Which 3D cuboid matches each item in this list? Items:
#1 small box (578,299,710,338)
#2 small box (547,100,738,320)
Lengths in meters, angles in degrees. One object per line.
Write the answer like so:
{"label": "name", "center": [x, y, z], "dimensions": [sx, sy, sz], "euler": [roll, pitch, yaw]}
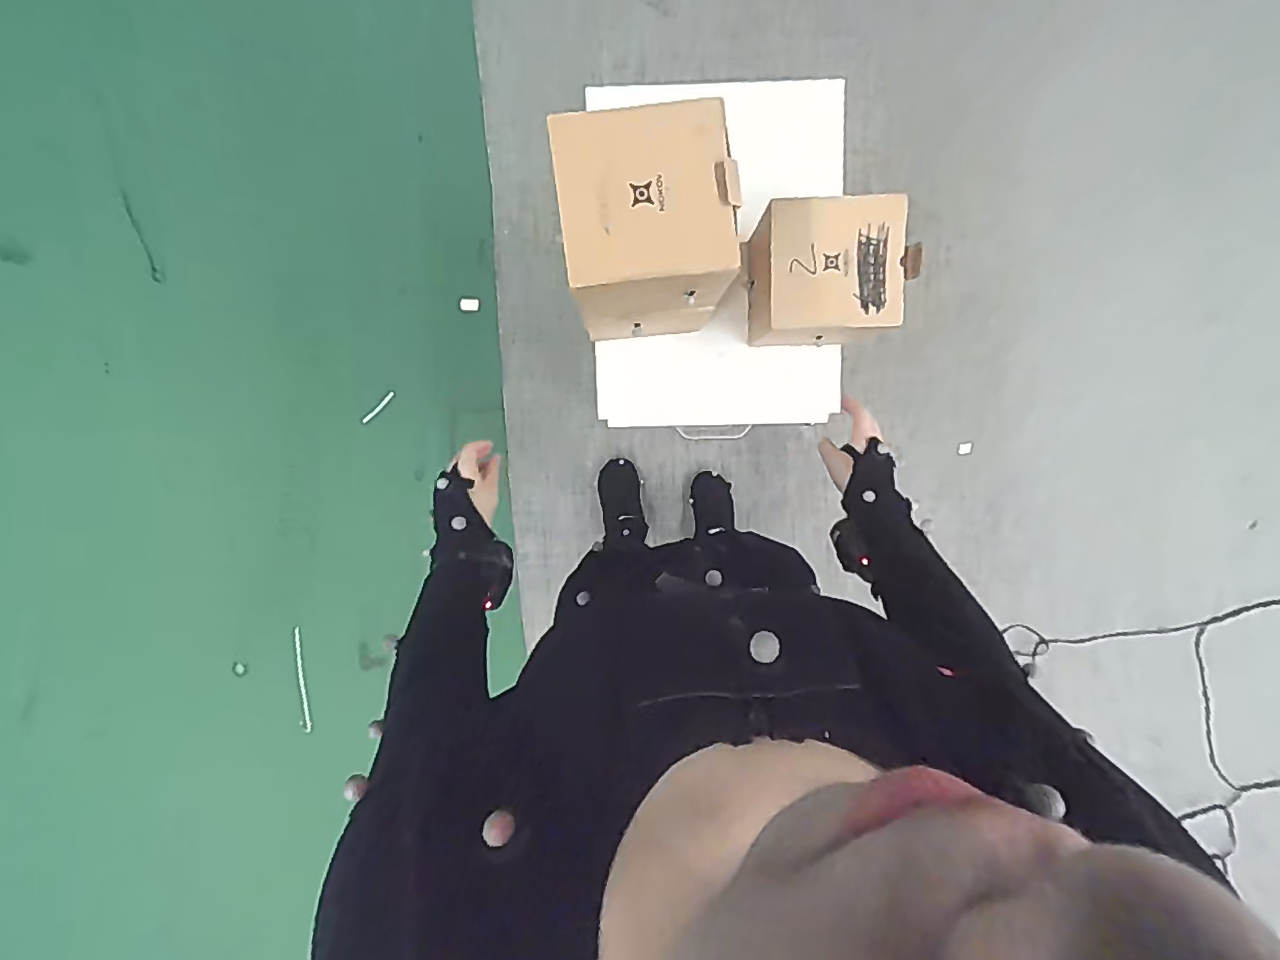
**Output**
{"label": "small box", "center": [-0.001, -0.304, 0.775], "dimensions": [0.179, 0.176, 0.168], "euler": [-6, 97, 0]}
{"label": "small box", "center": [0.002, -0.288, 0.613], "dimensions": [0.179, 0.176, 0.168], "euler": [-8, 95, 0]}
